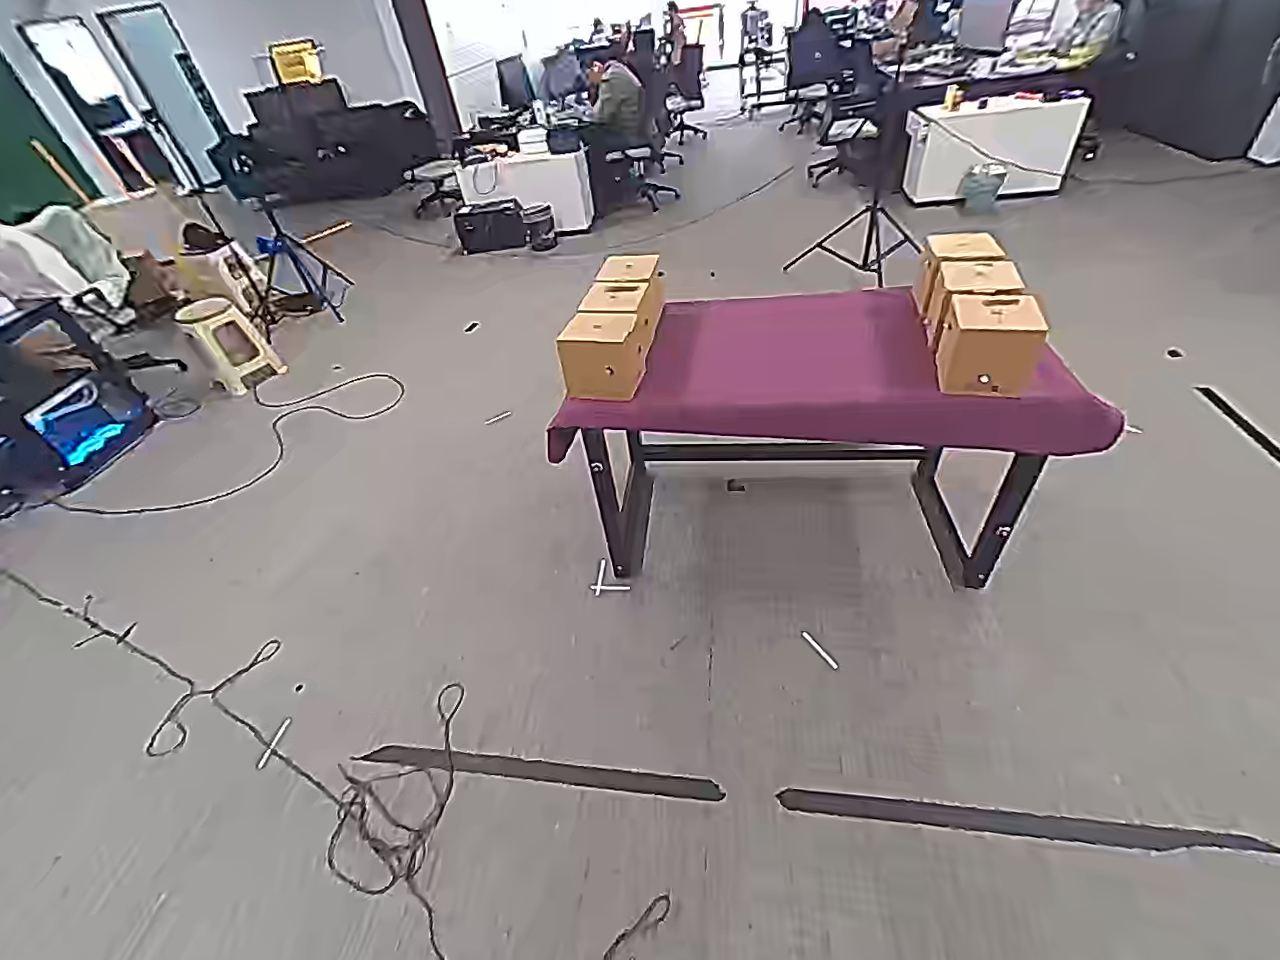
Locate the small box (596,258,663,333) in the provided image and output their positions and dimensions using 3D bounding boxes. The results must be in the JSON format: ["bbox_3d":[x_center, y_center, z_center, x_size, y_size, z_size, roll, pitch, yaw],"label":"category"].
[{"bbox_3d":[-0.025,-0.573,1.677,0.168,0.176,0.179,3,44,13],"label":"small box"}]

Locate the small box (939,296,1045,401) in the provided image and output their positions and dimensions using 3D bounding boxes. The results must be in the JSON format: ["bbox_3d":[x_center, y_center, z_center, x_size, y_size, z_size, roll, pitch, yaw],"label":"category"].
[{"bbox_3d":[0.798,-0.305,1.245,0.168,0.176,0.179,7,48,21],"label":"small box"}]

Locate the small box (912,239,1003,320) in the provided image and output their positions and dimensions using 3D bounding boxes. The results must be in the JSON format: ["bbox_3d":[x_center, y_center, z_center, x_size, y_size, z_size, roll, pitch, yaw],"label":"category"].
[{"bbox_3d":[0.880,-0.564,1.519,0.168,0.176,0.179,4,43,12],"label":"small box"}]
